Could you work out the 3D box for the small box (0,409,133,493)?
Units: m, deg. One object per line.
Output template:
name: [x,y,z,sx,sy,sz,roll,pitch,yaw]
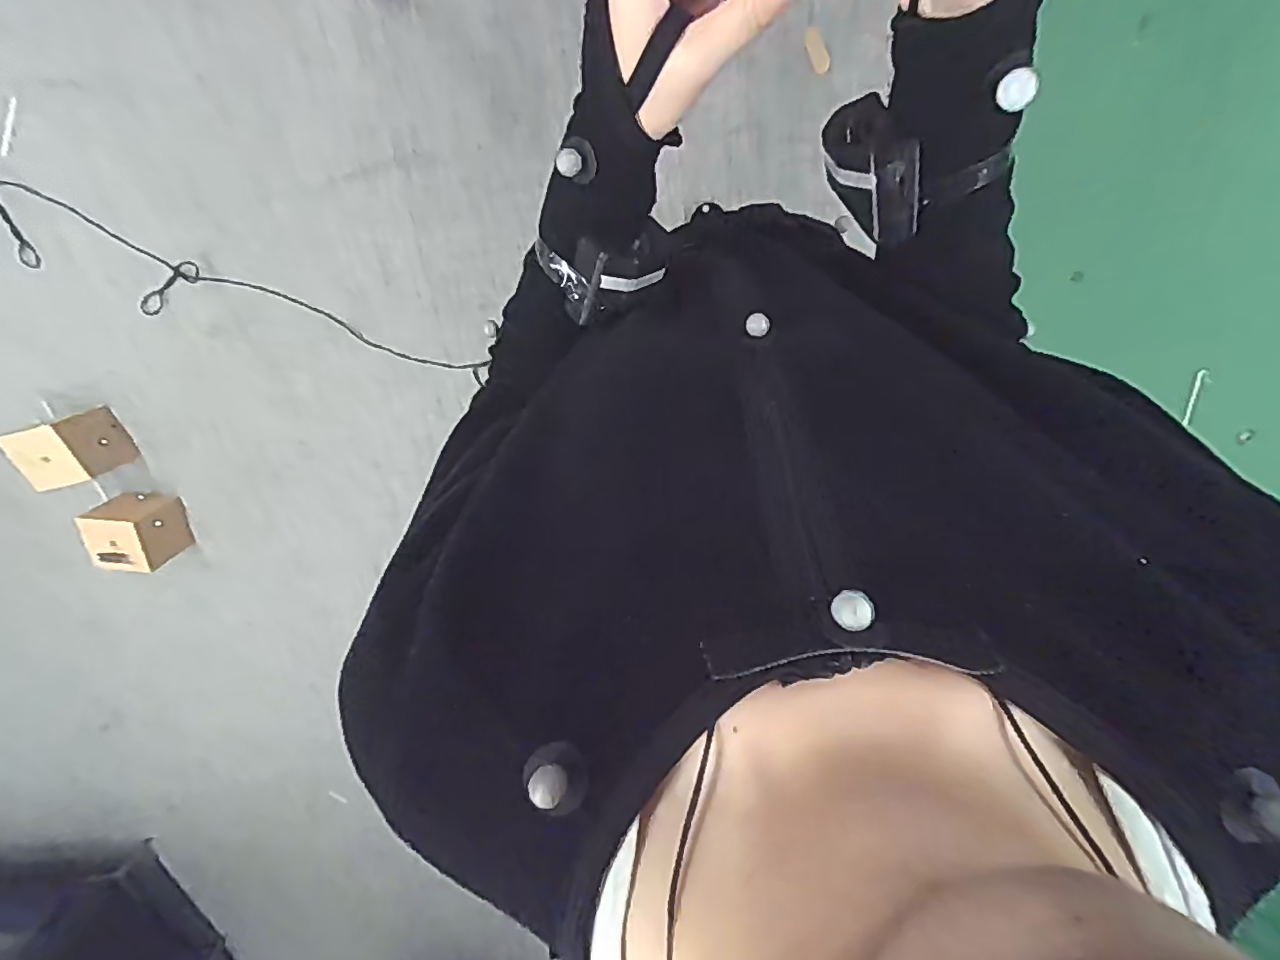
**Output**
small box: [-1.575,-0.086,1.499,0.179,0.176,0.168,-11,115,7]
